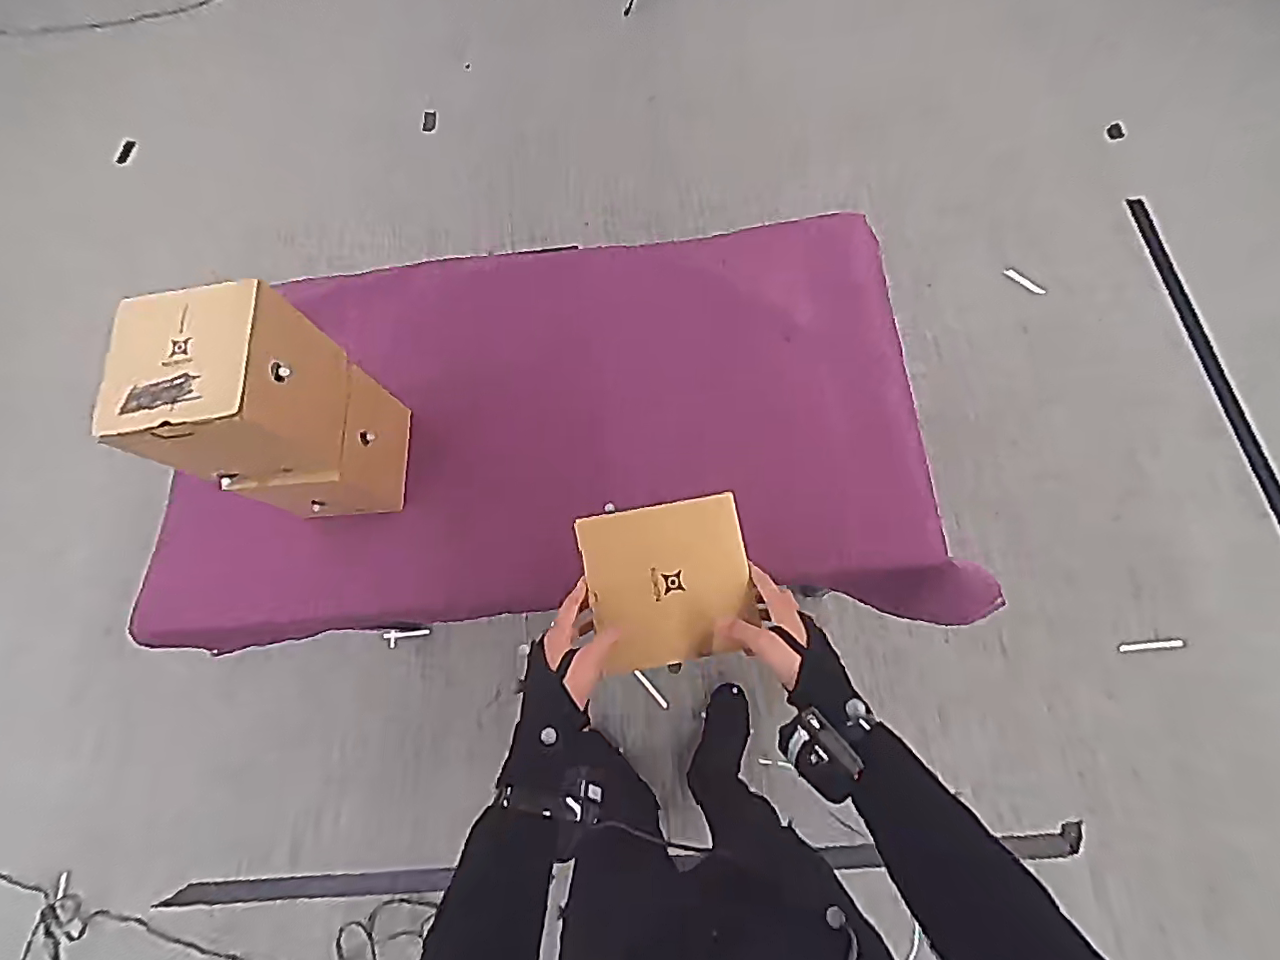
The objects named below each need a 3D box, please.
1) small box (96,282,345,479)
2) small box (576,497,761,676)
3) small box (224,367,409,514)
[{"bbox_3d":[-0.488,-0.107,0.660,0.168,0.176,0.179,-8,72,2],"label":"small box"},{"bbox_3d":[0.027,0.119,0.650,0.179,0.176,0.168,-10,82,-2],"label":"small box"},{"bbox_3d":[-0.469,-0.048,0.812,0.168,0.176,0.179,-3,73,3],"label":"small box"}]
